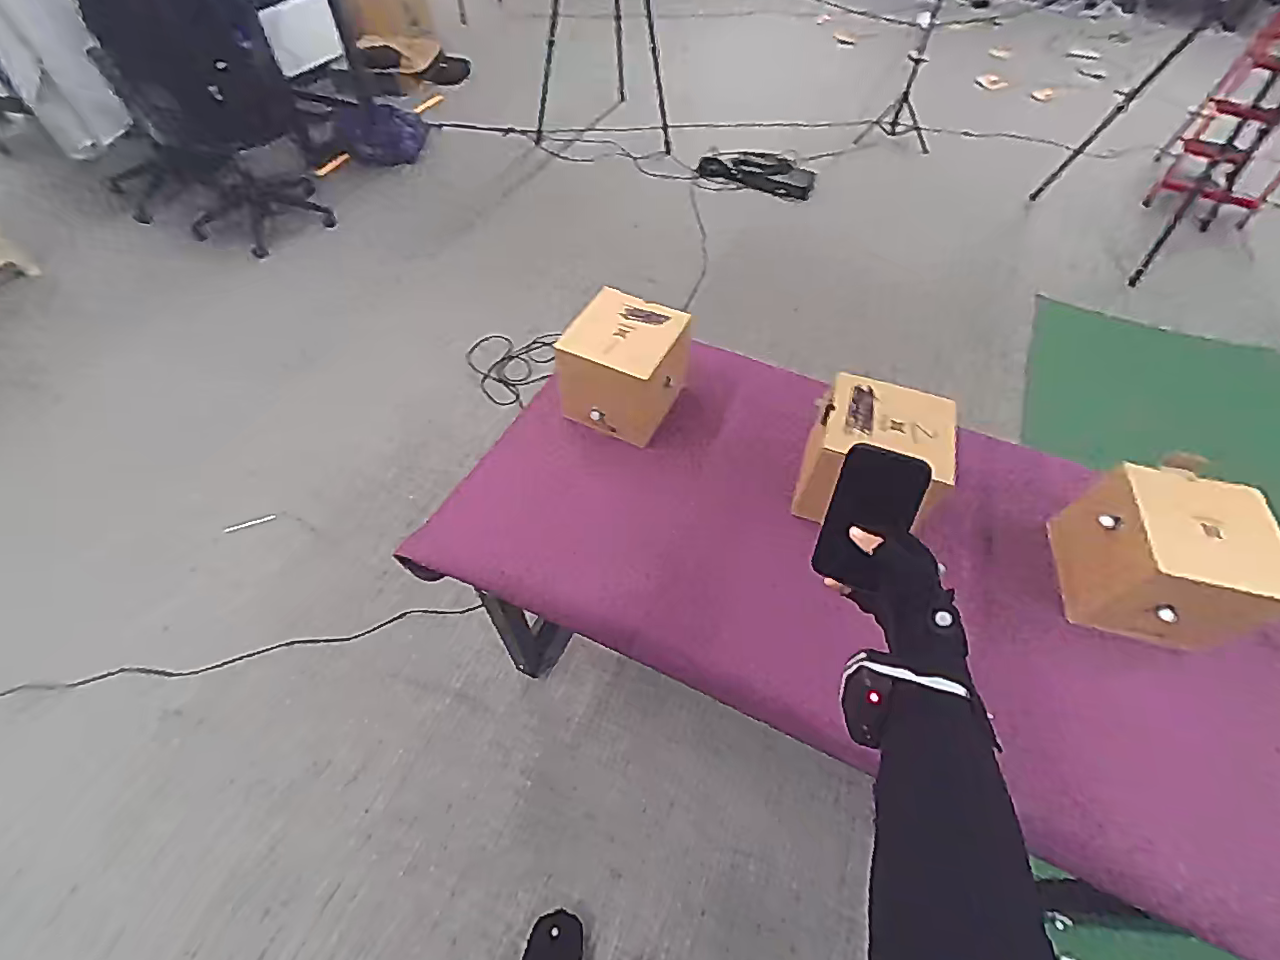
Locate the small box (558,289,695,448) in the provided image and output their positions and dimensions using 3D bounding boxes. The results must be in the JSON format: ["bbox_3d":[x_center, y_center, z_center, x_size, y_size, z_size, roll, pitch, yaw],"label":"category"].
[{"bbox_3d":[-0.022,-0.190,0.932,0.168,0.176,0.179,23,58,15],"label":"small box"}]

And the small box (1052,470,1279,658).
[{"bbox_3d":[0.706,0.118,0.733,0.168,0.176,0.179,13,53,8],"label":"small box"}]
